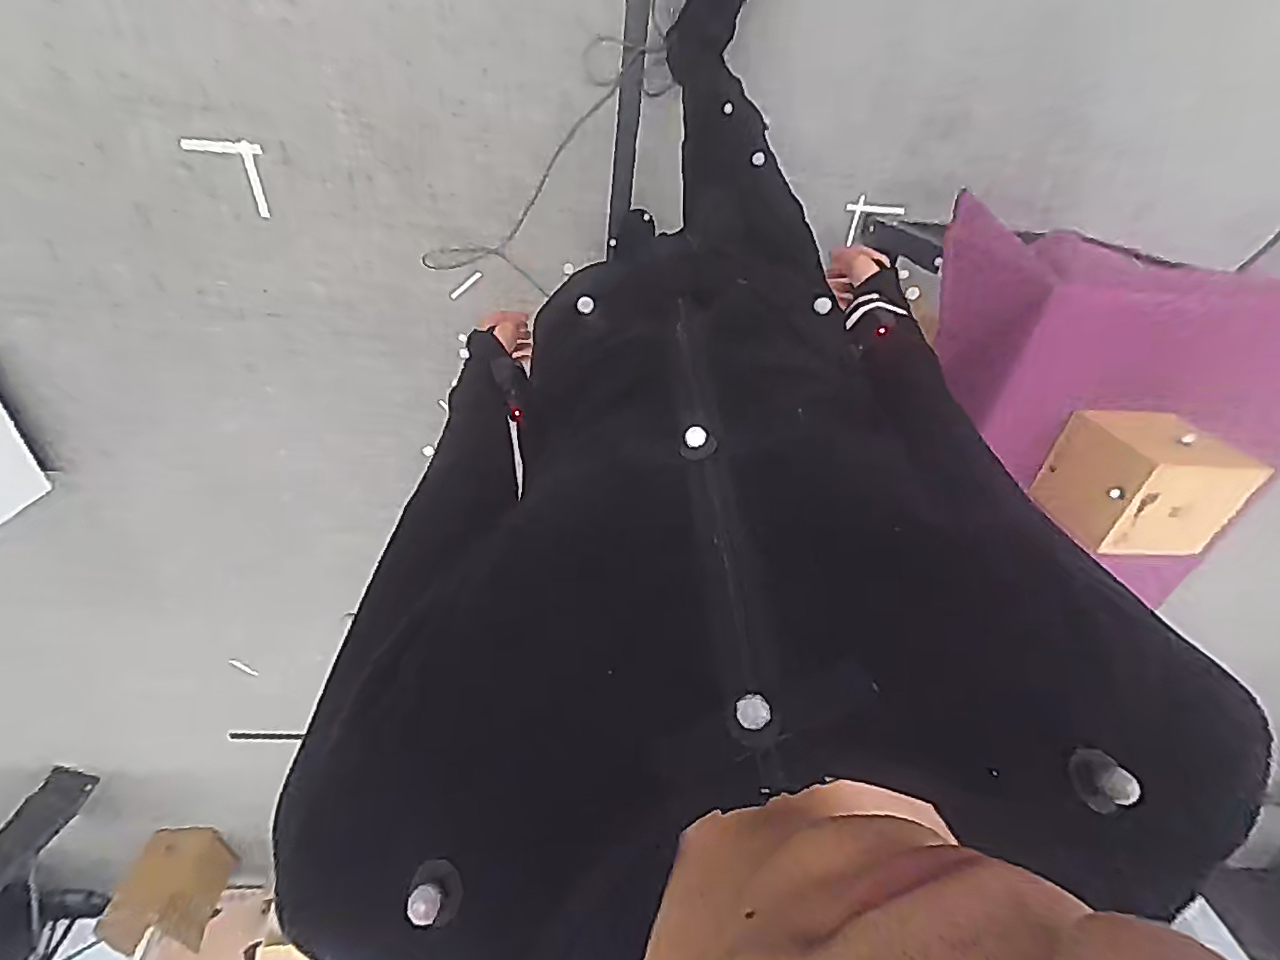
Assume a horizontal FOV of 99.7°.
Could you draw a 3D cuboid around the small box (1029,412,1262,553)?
[{"bbox_3d":[0.792,0.000,0.872,0.179,0.176,0.168,1,125,-5],"label":"small box"}]
